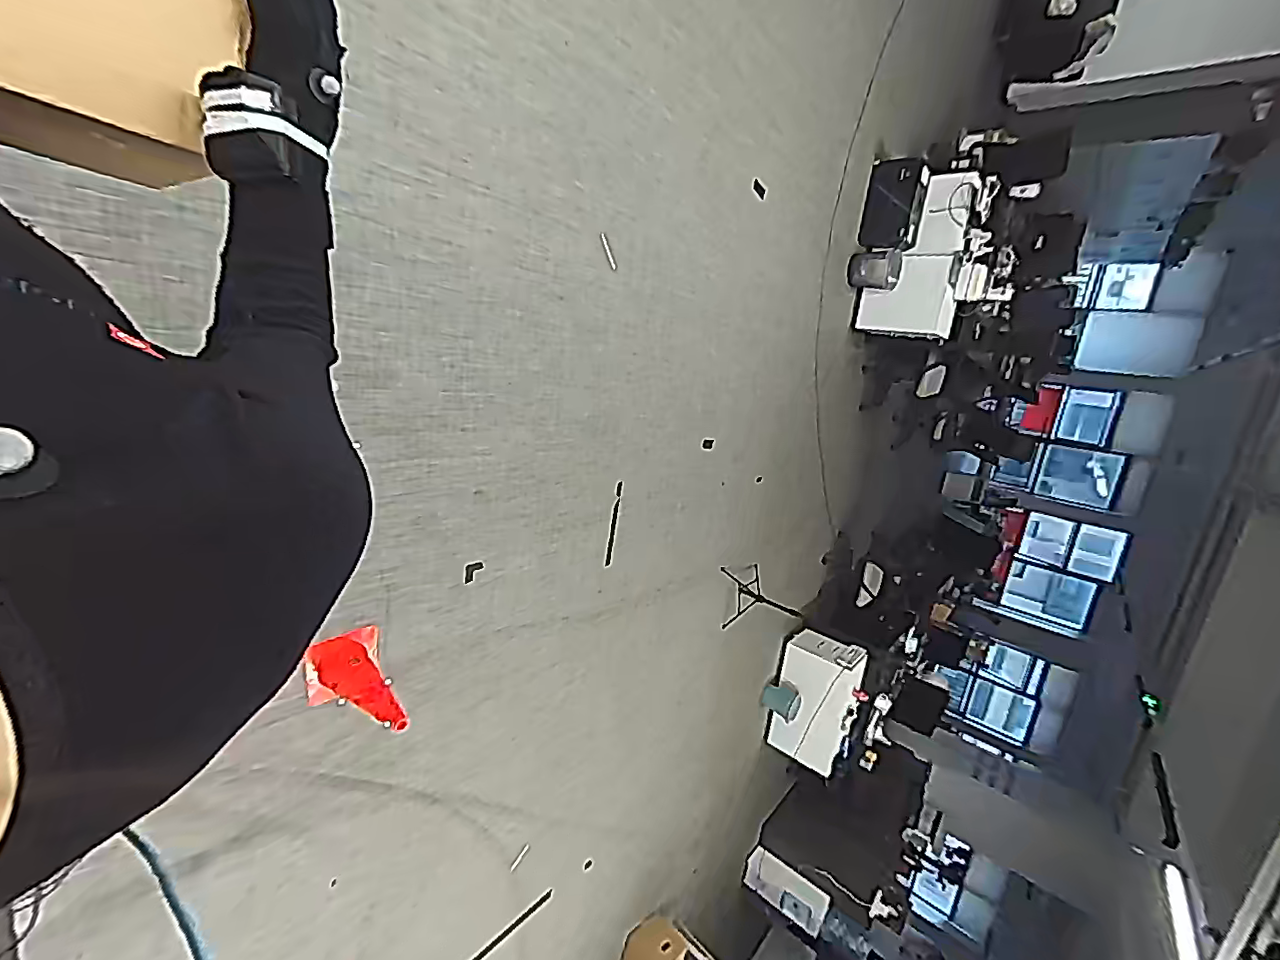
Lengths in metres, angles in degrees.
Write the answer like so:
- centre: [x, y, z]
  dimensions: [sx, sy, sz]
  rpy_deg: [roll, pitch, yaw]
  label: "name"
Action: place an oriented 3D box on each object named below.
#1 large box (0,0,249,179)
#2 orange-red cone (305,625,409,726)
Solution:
- centre: [-0.524, -0.428, 0.330]
  dimensions: [0.408, 0.320, 0.320]
  rpy_deg: [-4, 109, -51]
  label: "large box"
- centre: [-0.753, 0.580, 1.503]
  dimensions: [0.198, 0.360, 0.199]
  rpy_deg: [-12, 112, -50]
  label: "orange-red cone"
